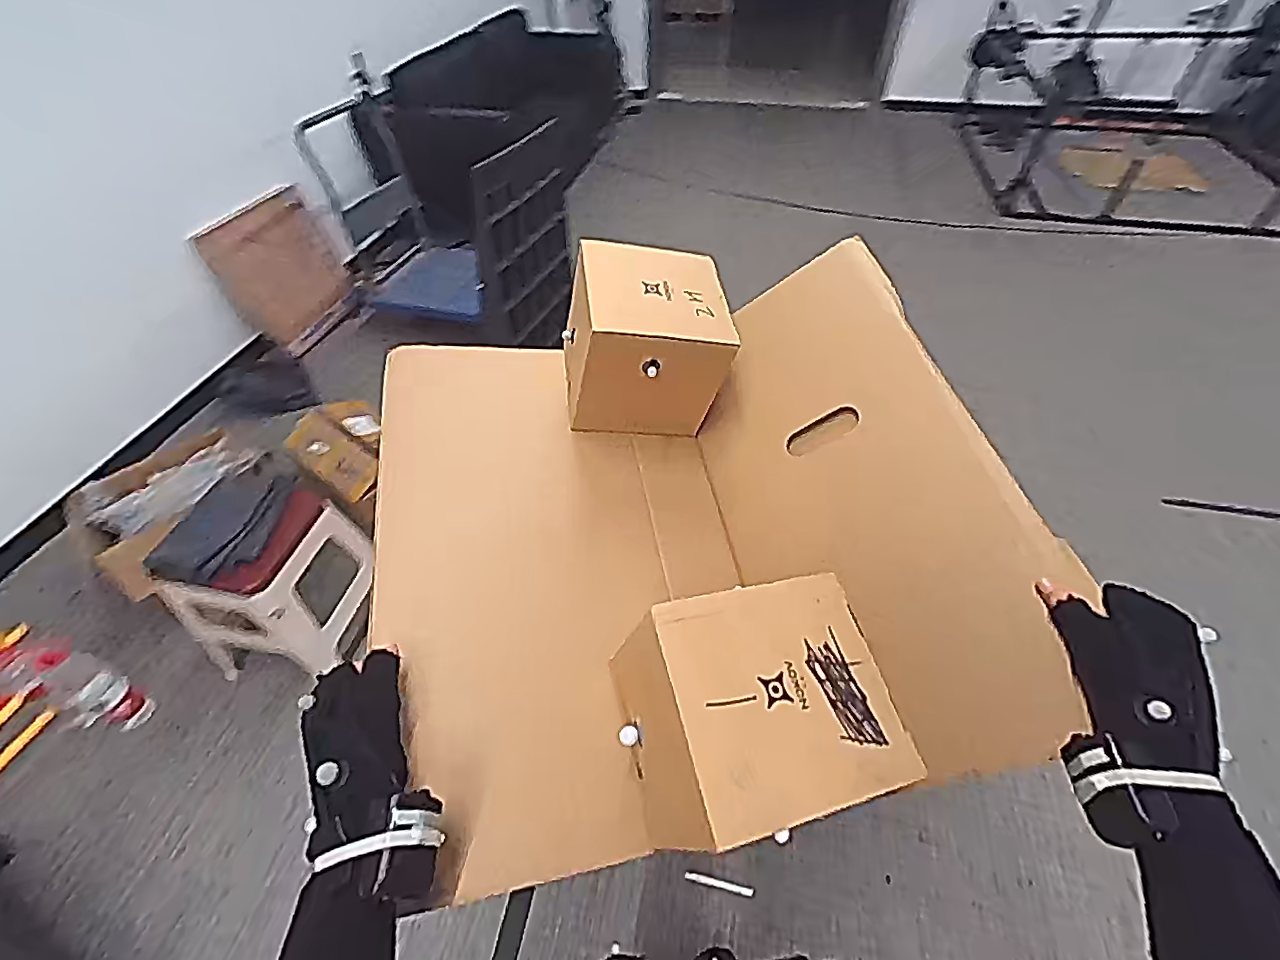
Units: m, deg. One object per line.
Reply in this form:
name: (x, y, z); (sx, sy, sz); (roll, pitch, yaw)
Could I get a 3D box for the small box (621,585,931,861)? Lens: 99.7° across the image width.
small box: (0.097, 0.207, 0.472); (0.179, 0.176, 0.168); (-5, 59, -18)

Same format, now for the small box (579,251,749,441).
small box: (0.016, -0.166, 0.704); (0.179, 0.176, 0.168); (3, 56, -15)
